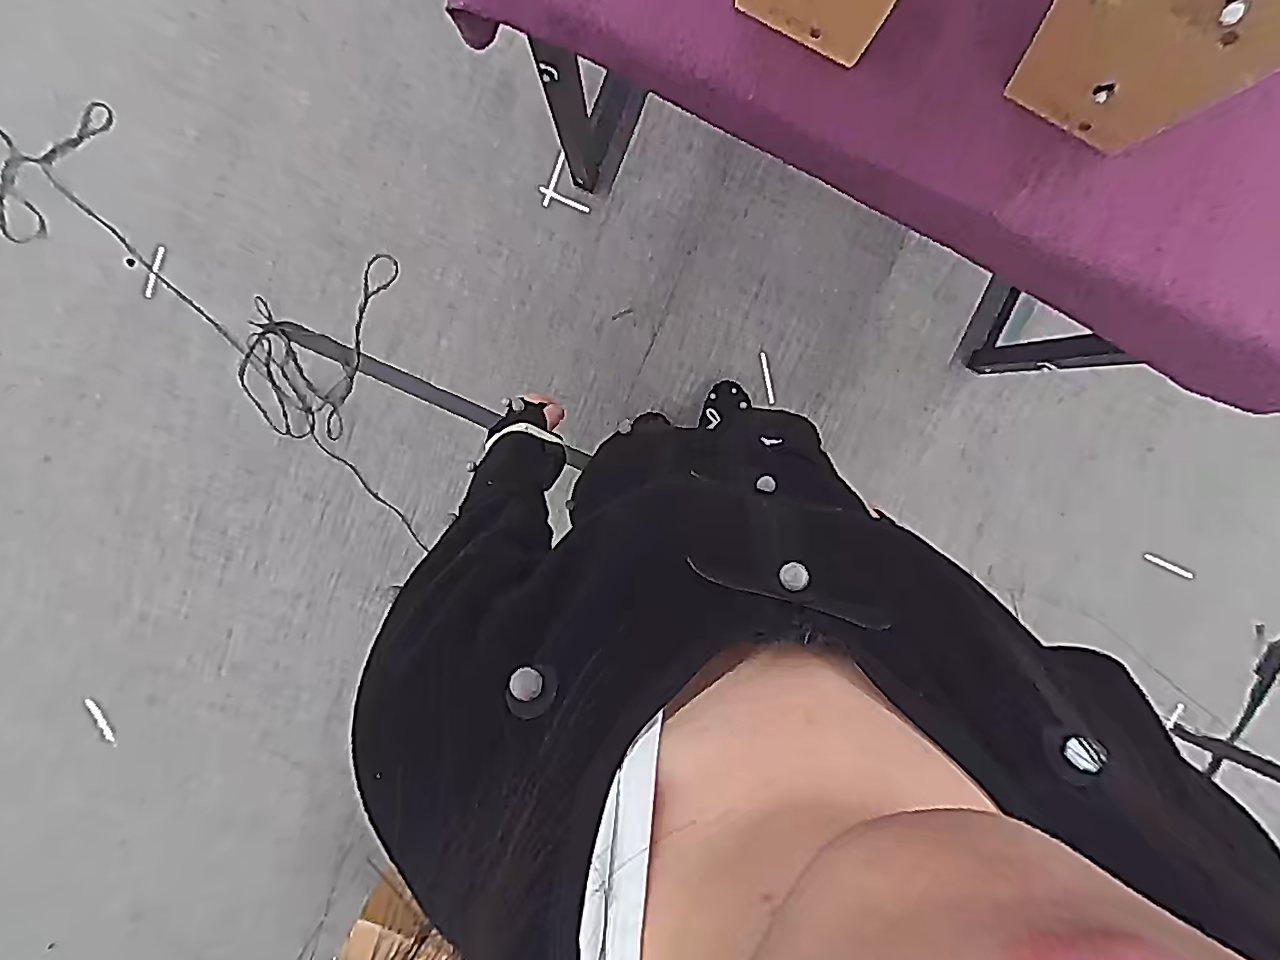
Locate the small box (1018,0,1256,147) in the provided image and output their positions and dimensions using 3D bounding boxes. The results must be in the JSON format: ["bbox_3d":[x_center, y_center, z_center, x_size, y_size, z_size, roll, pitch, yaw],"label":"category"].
[{"bbox_3d":[0.569,-0.515,0.596,0.168,0.176,0.179,27,98,-5],"label":"small box"}]

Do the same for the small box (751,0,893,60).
[{"bbox_3d":[0.227,-0.612,0.580,0.168,0.176,0.179,25,97,-4],"label":"small box"}]
